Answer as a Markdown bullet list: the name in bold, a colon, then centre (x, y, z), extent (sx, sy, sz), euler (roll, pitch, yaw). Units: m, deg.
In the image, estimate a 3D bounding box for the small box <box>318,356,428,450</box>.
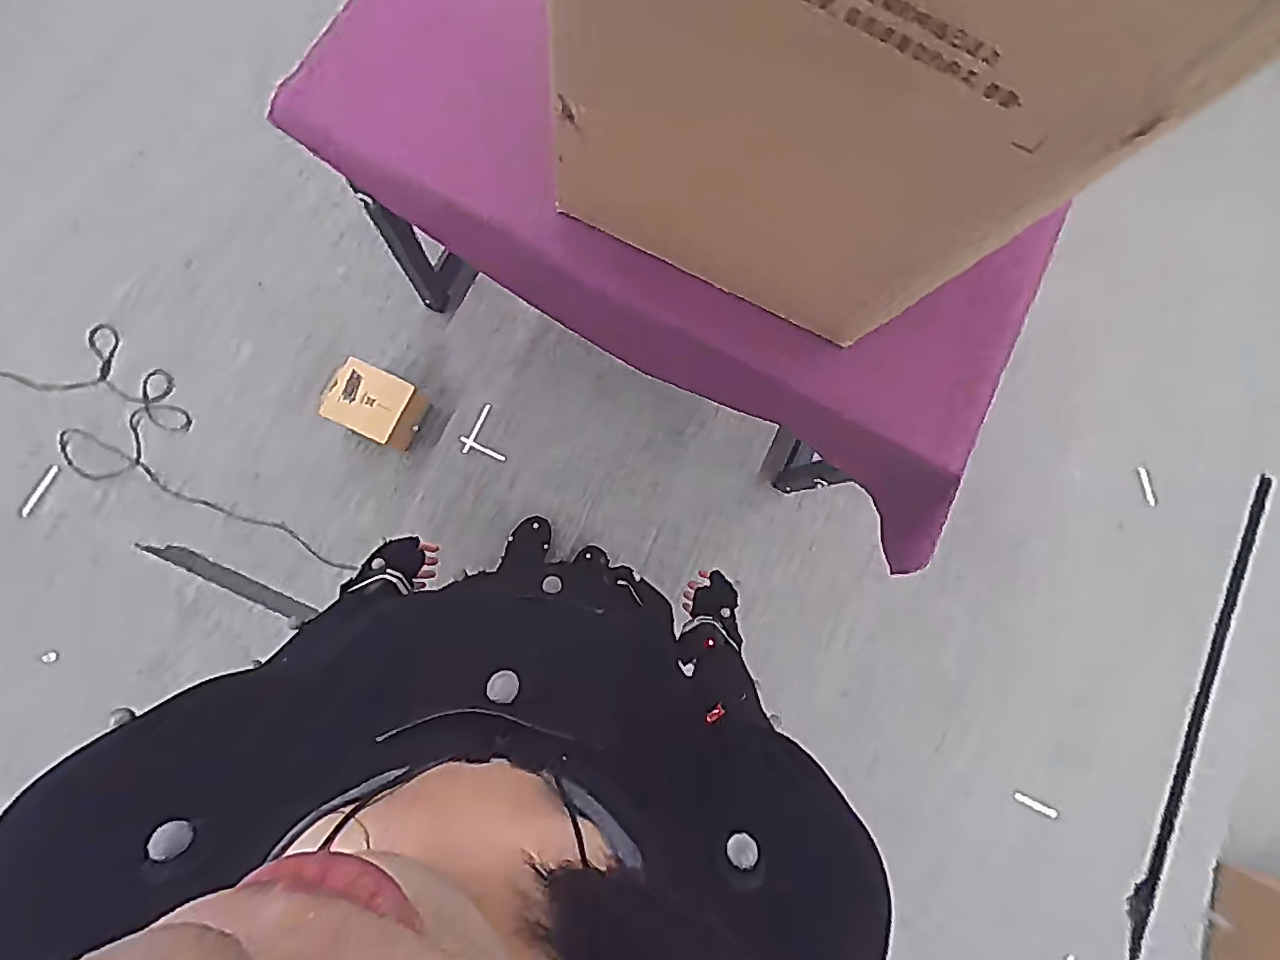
- **small box**: centre (-0.680, -0.190, 1.400), extent (0.179, 0.176, 0.168), euler (26, 81, -6)
